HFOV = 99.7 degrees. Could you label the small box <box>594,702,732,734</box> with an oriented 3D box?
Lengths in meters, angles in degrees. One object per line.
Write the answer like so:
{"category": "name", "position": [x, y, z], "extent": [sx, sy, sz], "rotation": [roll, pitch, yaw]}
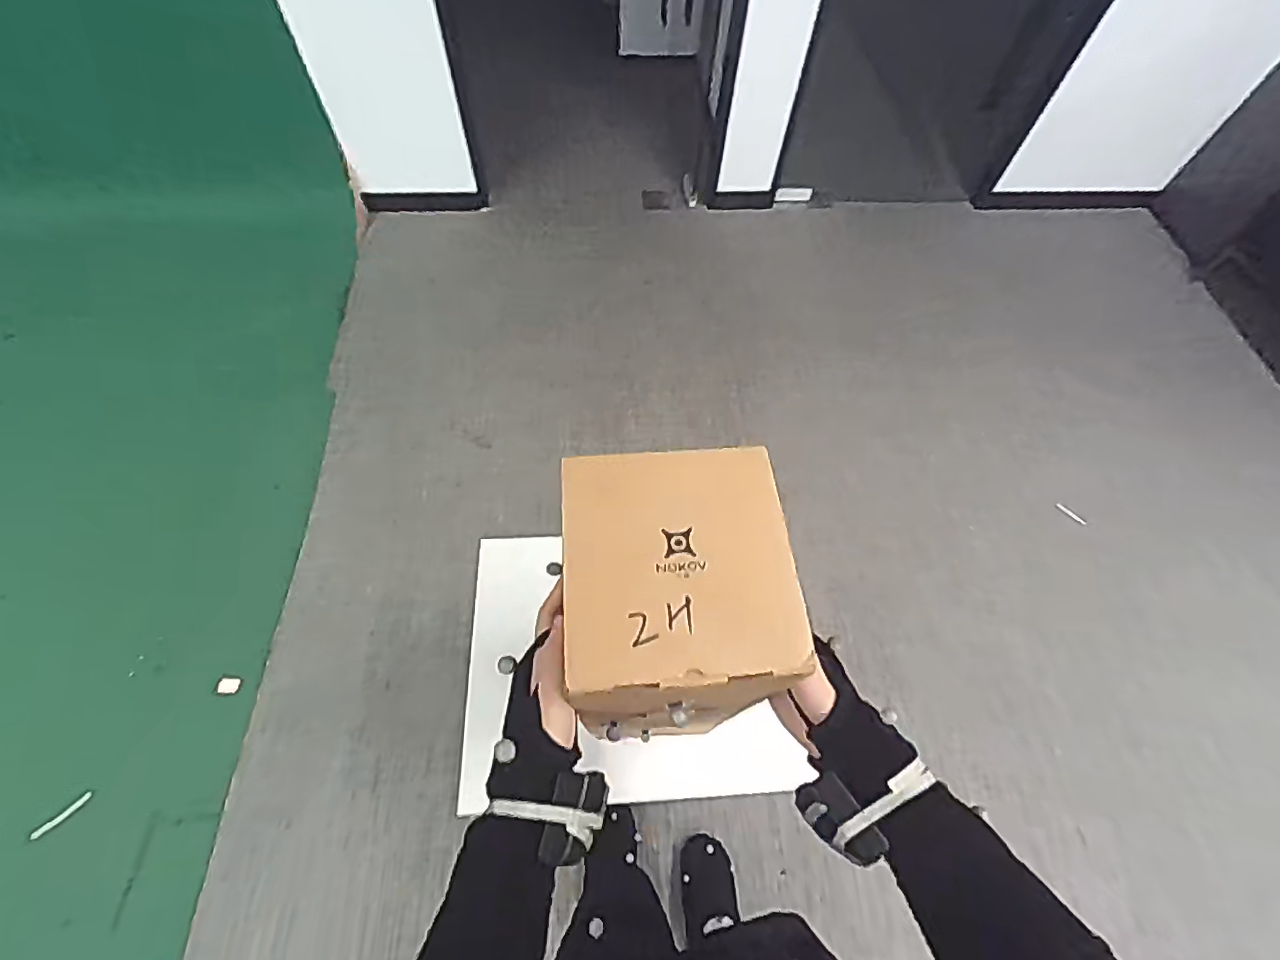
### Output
{"category": "small box", "position": [0.020, 0.243, 0.743], "extent": [0.168, 0.176, 0.179], "rotation": [-2, 61, -3]}

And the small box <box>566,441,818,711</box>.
{"category": "small box", "position": [0.026, 0.086, 0.454], "extent": [0.168, 0.176, 0.179], "rotation": [-3, 61, -4]}
